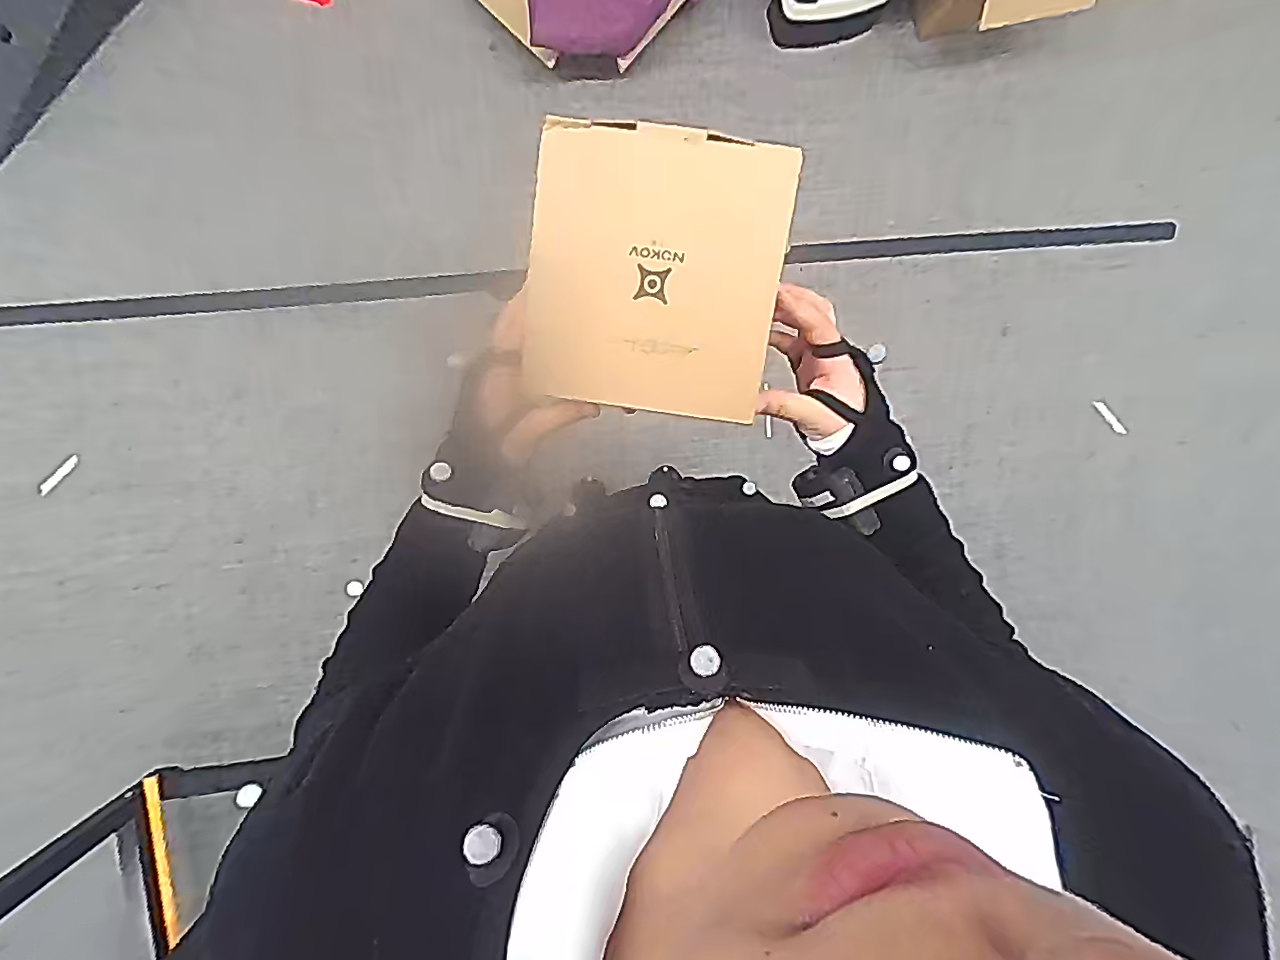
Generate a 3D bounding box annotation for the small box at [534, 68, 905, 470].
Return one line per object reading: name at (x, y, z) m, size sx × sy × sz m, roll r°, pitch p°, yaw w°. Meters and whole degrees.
small box at (0.037, -0.118, 0.350) m, size 0.168 × 0.176 × 0.179 m, roll 8°, pitch 104°, yaw 2°
